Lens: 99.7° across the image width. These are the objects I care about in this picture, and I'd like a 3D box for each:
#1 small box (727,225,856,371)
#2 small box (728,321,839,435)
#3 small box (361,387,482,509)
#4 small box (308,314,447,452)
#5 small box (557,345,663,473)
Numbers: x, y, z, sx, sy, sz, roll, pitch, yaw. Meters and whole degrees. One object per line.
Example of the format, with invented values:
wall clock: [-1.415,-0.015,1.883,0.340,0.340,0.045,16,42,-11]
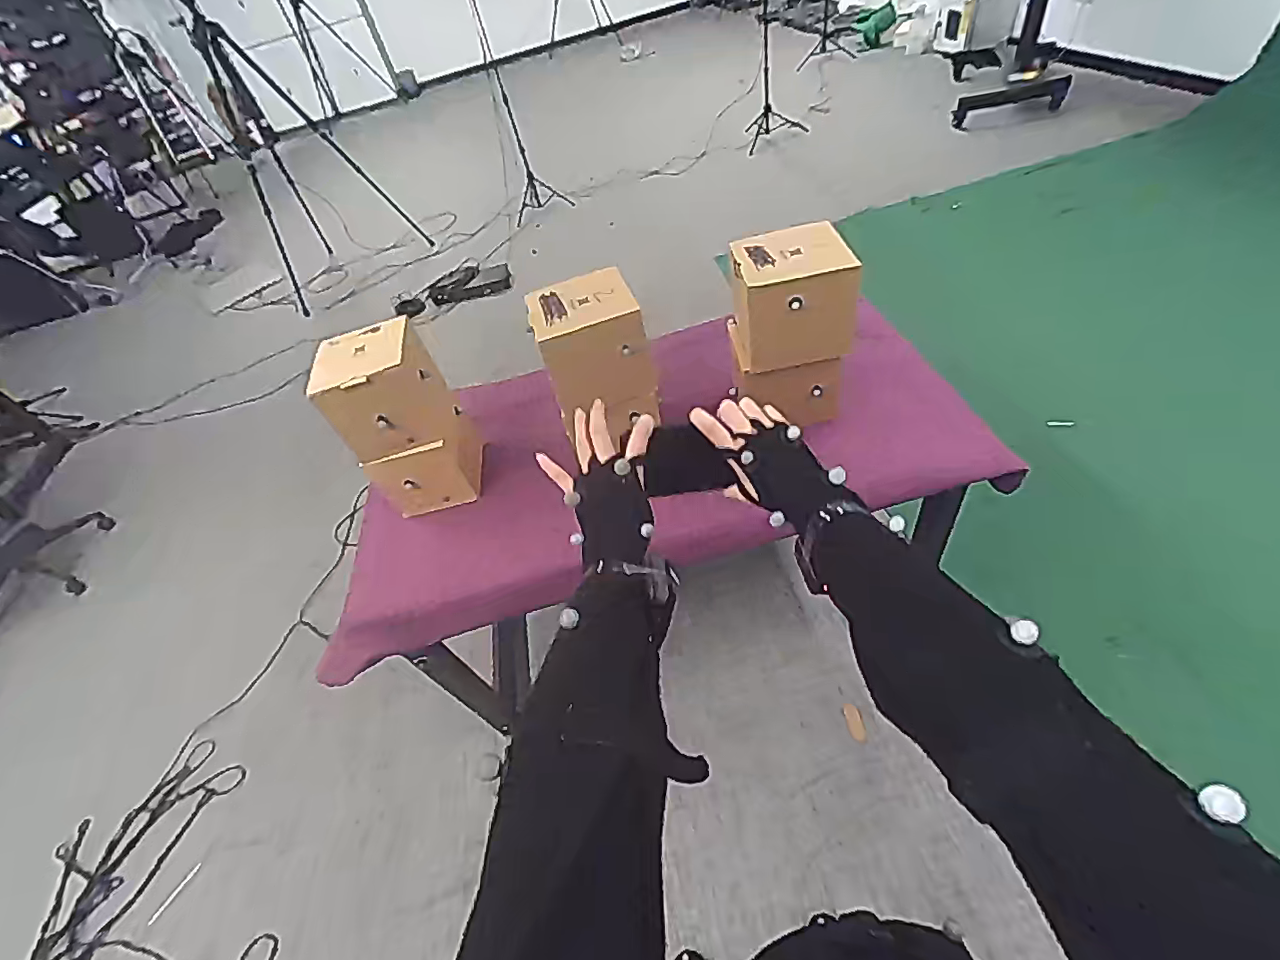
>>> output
small box: [0.256,-0.309,0.934,0.179,0.176,0.168,-9,47,6]
small box: [0.276,-0.211,1.065,0.179,0.176,0.168,-10,47,7]
small box: [-0.438,-0.058,1.115,0.168,0.176,0.179,-14,47,3]
small box: [-0.471,-0.171,1.000,0.168,0.176,0.179,-17,48,-2]
small box: [-0.056,-0.139,1.086,0.179,0.176,0.168,-14,47,2]
